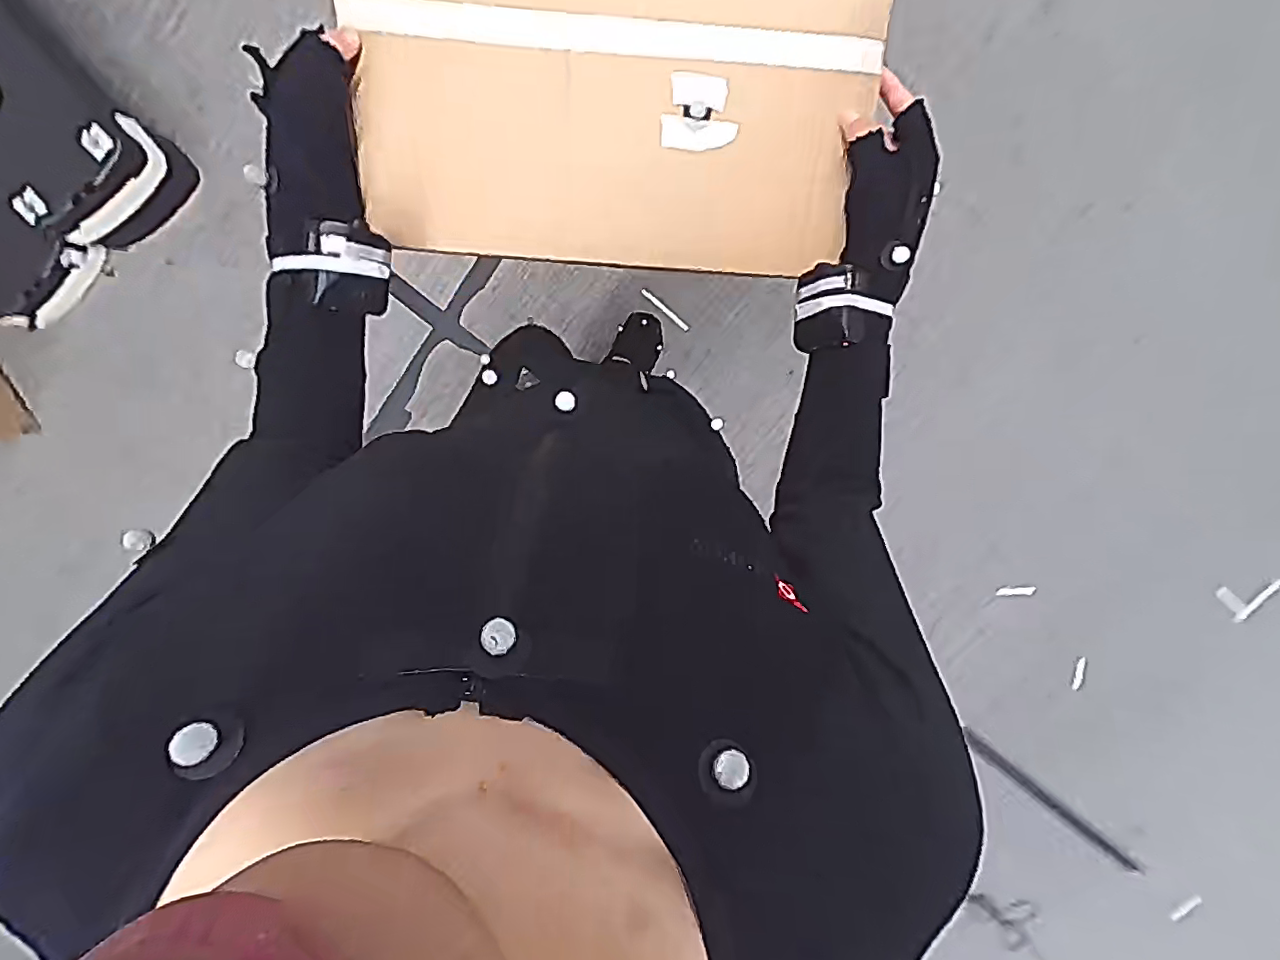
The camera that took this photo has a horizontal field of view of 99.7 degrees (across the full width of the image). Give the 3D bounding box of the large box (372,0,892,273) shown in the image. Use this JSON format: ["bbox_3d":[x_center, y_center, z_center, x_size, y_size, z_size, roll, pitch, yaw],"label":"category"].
[{"bbox_3d":[-0.013,-0.394,0.560,0.408,0.320,0.320,4,112,-3],"label":"large box"}]
